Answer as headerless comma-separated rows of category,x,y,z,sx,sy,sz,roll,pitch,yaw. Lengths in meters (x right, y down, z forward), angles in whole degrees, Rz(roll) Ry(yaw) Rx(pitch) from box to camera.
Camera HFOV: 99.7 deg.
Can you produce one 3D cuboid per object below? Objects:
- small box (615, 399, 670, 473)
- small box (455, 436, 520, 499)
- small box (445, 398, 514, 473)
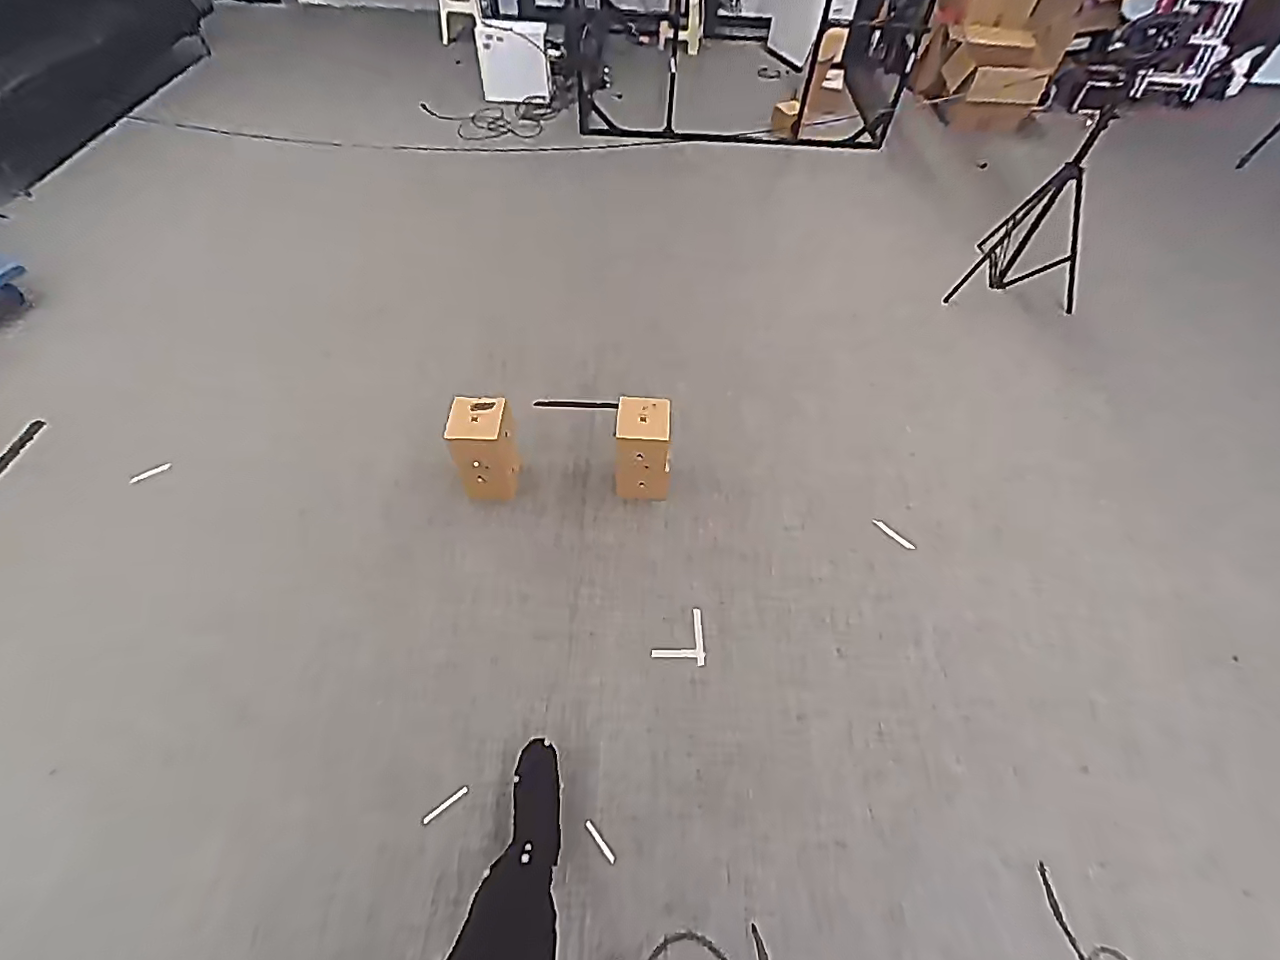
small box,0.008,-0.140,1.765,0.168,0.176,0.179,4,54,0
small box,-0.521,-0.045,1.876,0.179,0.176,0.168,1,55,-1
small box,-0.510,-0.143,1.744,0.168,0.176,0.179,1,55,-1
